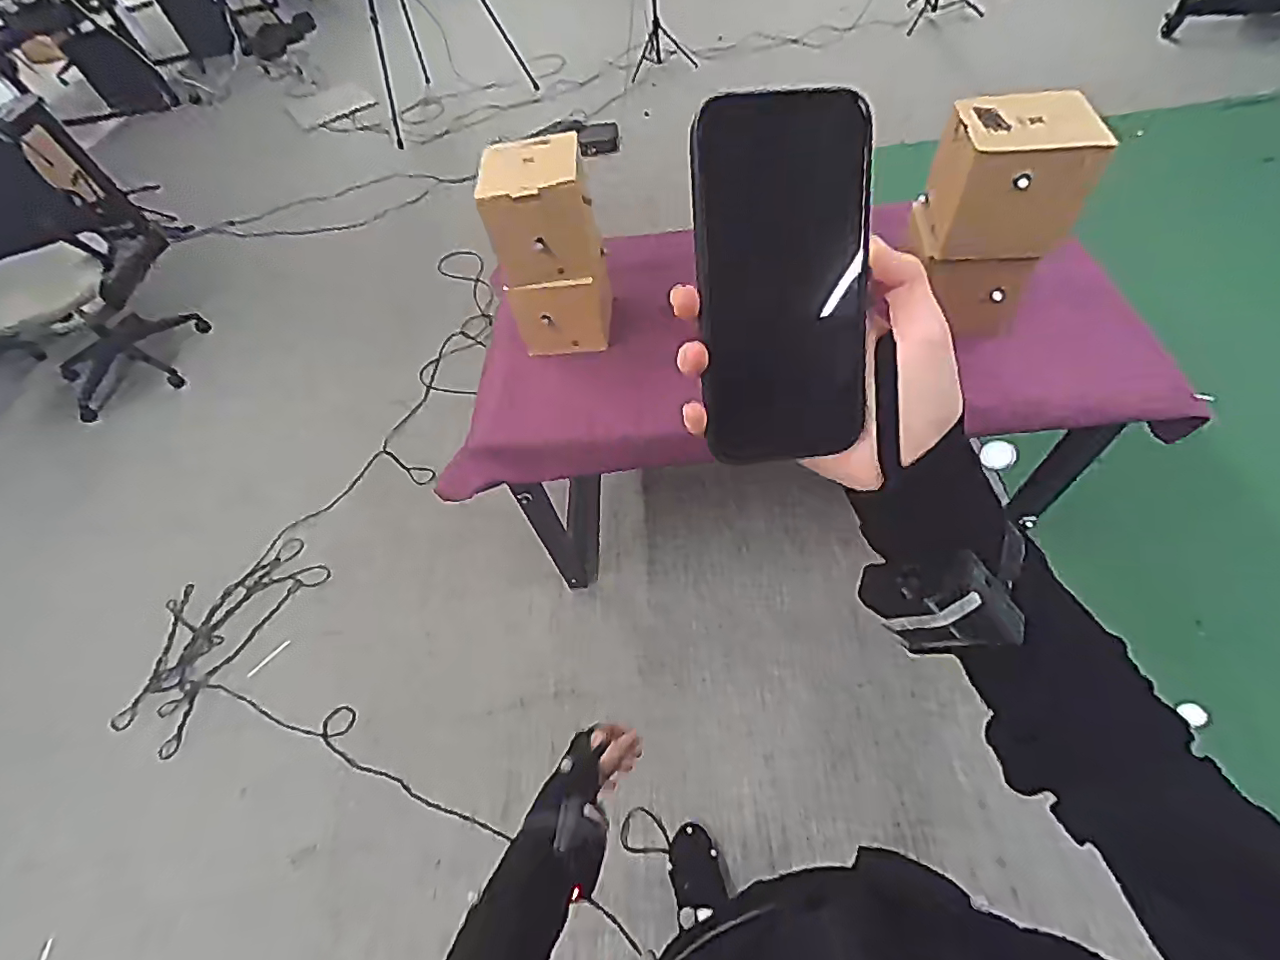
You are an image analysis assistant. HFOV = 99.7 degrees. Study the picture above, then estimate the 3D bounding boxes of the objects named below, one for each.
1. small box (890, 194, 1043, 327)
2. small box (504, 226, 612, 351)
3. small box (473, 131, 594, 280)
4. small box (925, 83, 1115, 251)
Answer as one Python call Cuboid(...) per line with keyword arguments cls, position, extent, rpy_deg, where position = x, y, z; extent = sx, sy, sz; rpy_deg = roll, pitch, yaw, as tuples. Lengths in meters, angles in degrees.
Cuboid(cls="small box", position=(0.569, -0.392, 0.971), extent=(0.179, 0.176, 0.168), rpy_deg=(1, 56, 11))
Cuboid(cls="small box", position=(-0.154, -0.373, 1.079), extent=(0.168, 0.176, 0.179), rpy_deg=(-3, 56, 7))
Cuboid(cls="small box", position=(-0.176, -0.471, 0.949), extent=(0.168, 0.176, 0.179), rpy_deg=(-7, 56, 4))
Cuboid(cls="small box", position=(0.555, -0.471, 0.827), extent=(0.179, 0.176, 0.168), rpy_deg=(1, 56, 10))
